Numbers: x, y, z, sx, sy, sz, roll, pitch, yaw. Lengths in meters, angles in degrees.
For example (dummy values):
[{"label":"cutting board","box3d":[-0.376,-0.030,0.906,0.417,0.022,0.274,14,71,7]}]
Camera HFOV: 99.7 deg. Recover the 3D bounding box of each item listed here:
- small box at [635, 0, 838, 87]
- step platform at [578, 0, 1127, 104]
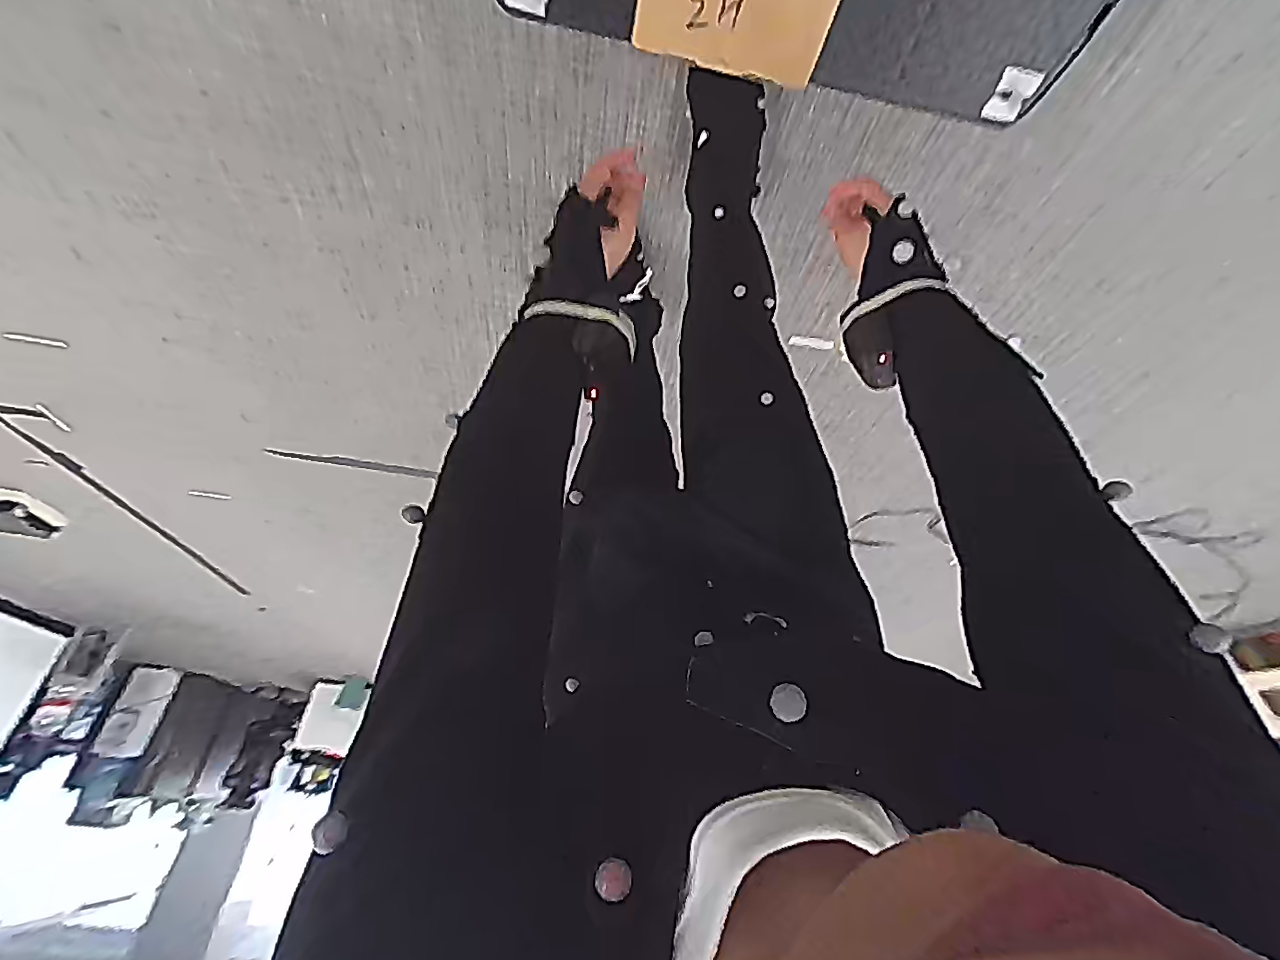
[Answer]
[{"label":"small box","box3d":[0.096,-0.492,0.467,0.168,0.176,0.179,10,147,-6]},{"label":"step platform","box3d":[0.194,-0.634,0.555,0.684,0.204,0.286,9,147,-5]}]
